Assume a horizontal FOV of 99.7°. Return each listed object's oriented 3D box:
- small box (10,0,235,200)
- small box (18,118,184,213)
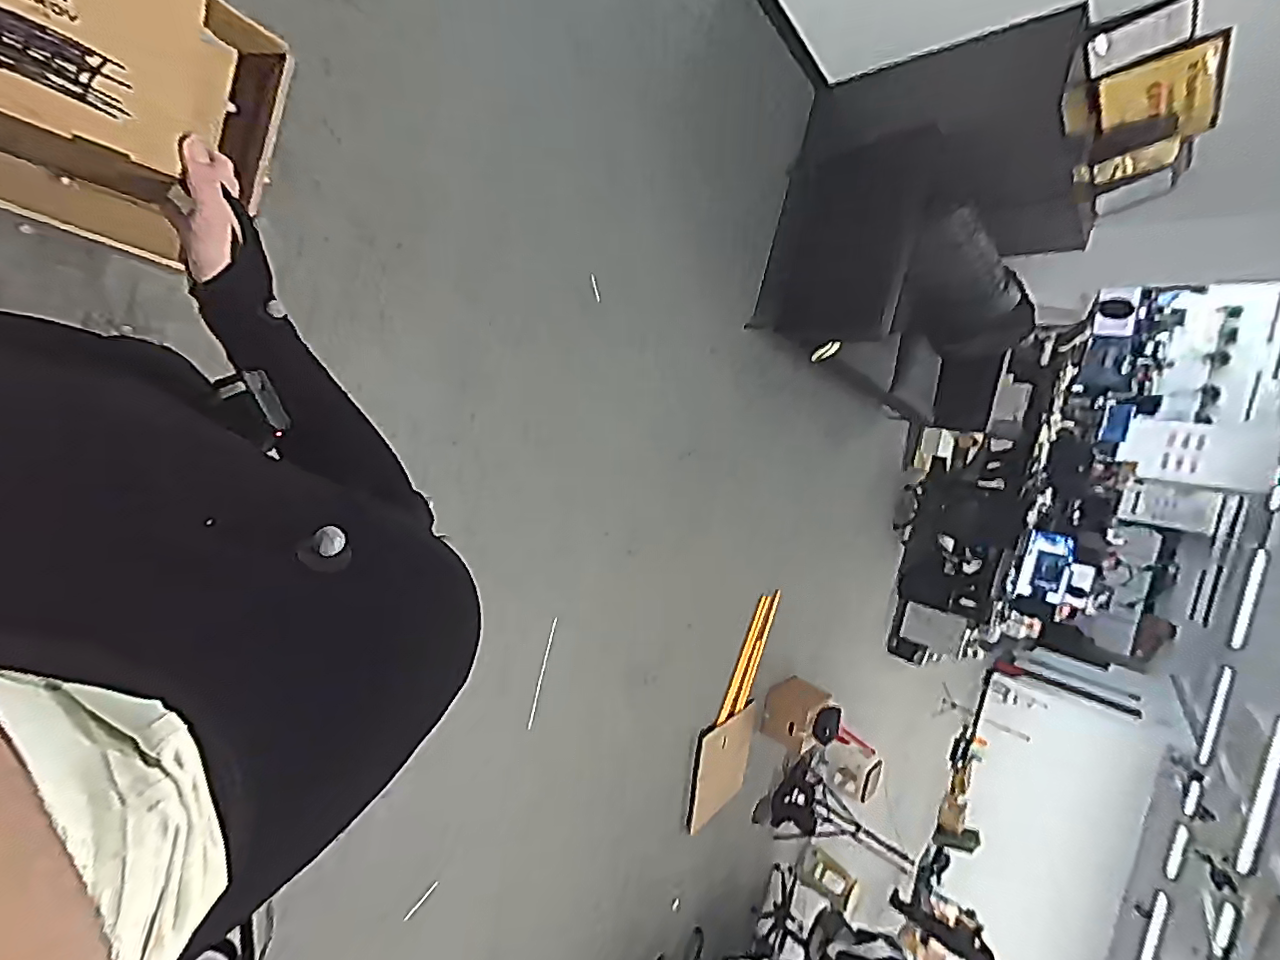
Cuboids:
[{"bbox_3d":[-0.635,-0.481,0.669,0.168,0.176,0.179,13,92,-47],"label":"small box"},{"bbox_3d":[-0.750,-0.514,0.780,0.168,0.176,0.179,13,91,-48],"label":"small box"}]
